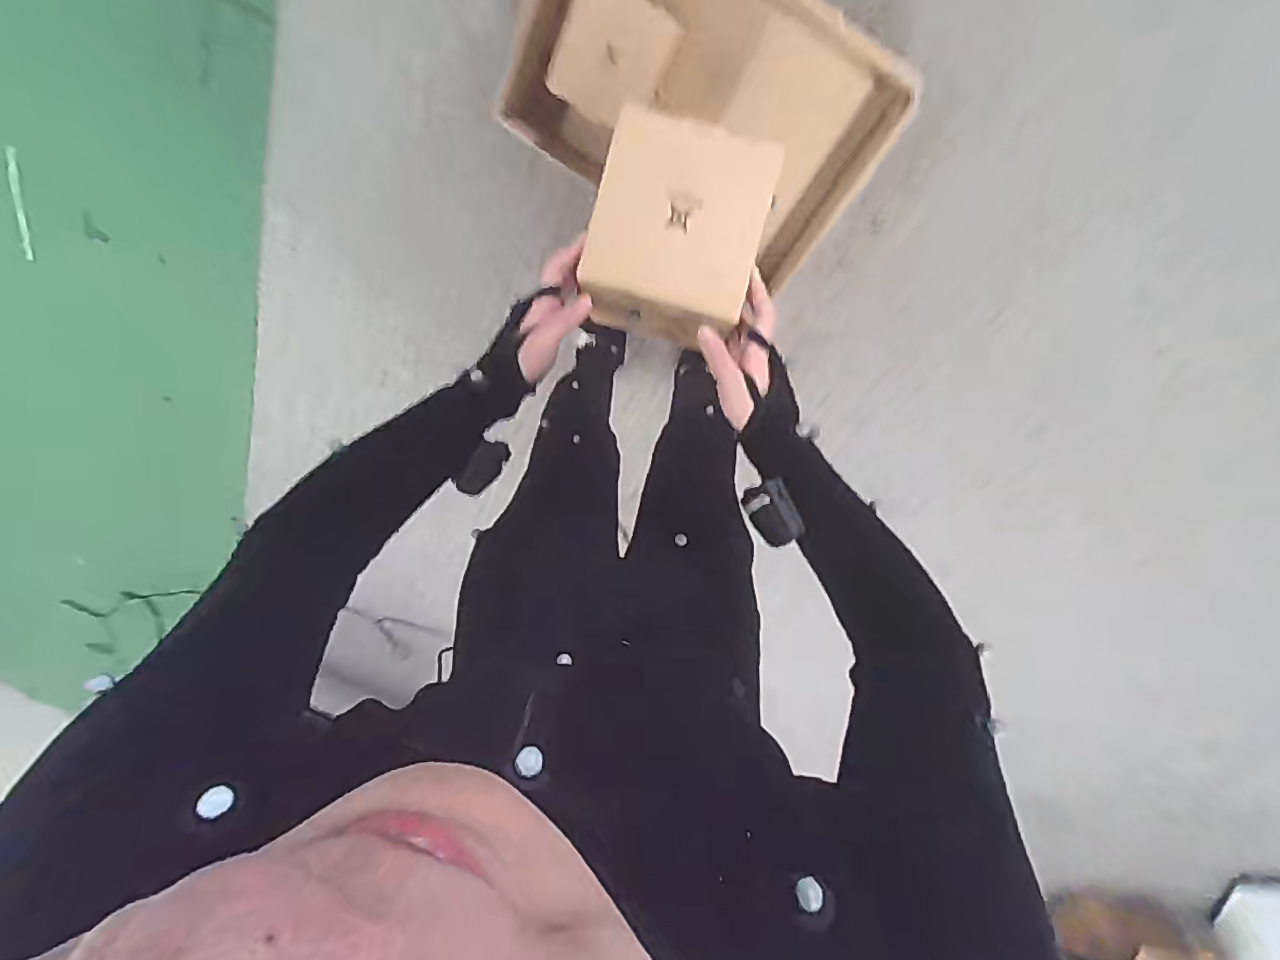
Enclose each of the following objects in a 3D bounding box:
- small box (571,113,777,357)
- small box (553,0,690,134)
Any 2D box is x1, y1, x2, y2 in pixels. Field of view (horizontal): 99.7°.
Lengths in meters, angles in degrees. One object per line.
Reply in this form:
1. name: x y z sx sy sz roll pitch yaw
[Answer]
1. small box: 0.034 -0.250 0.598 0.168 0.176 0.179 15 90 1
2. small box: -0.024 -0.712 0.939 0.168 0.176 0.179 29 124 -9
